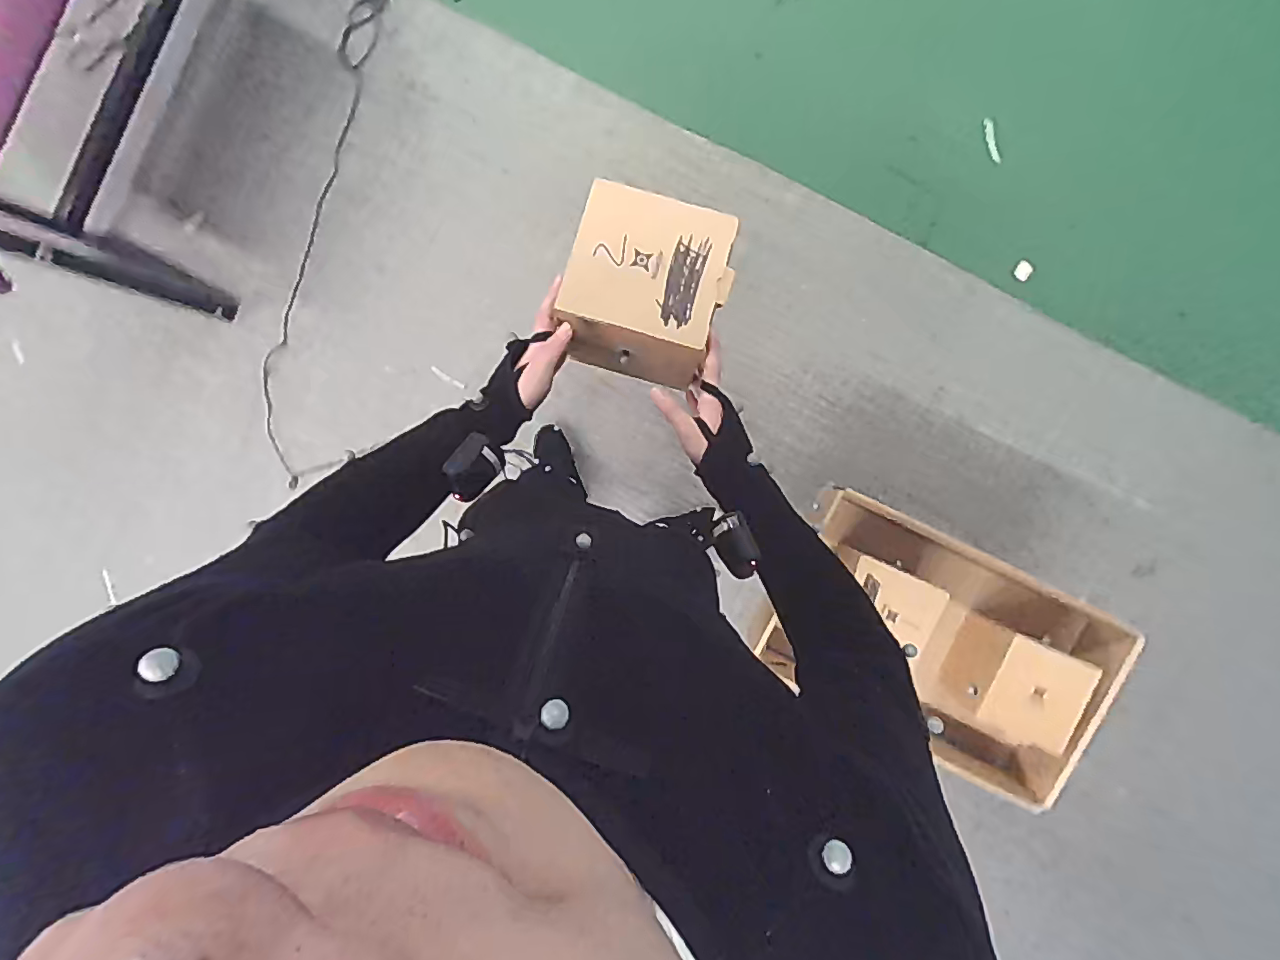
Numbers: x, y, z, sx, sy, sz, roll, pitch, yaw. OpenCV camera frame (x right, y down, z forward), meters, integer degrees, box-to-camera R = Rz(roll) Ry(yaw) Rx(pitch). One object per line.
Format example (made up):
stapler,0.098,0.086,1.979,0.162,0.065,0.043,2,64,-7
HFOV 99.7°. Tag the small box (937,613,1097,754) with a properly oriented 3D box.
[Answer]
small box,0.727,0.388,1.067,0.168,0.176,0.179,24,95,4
